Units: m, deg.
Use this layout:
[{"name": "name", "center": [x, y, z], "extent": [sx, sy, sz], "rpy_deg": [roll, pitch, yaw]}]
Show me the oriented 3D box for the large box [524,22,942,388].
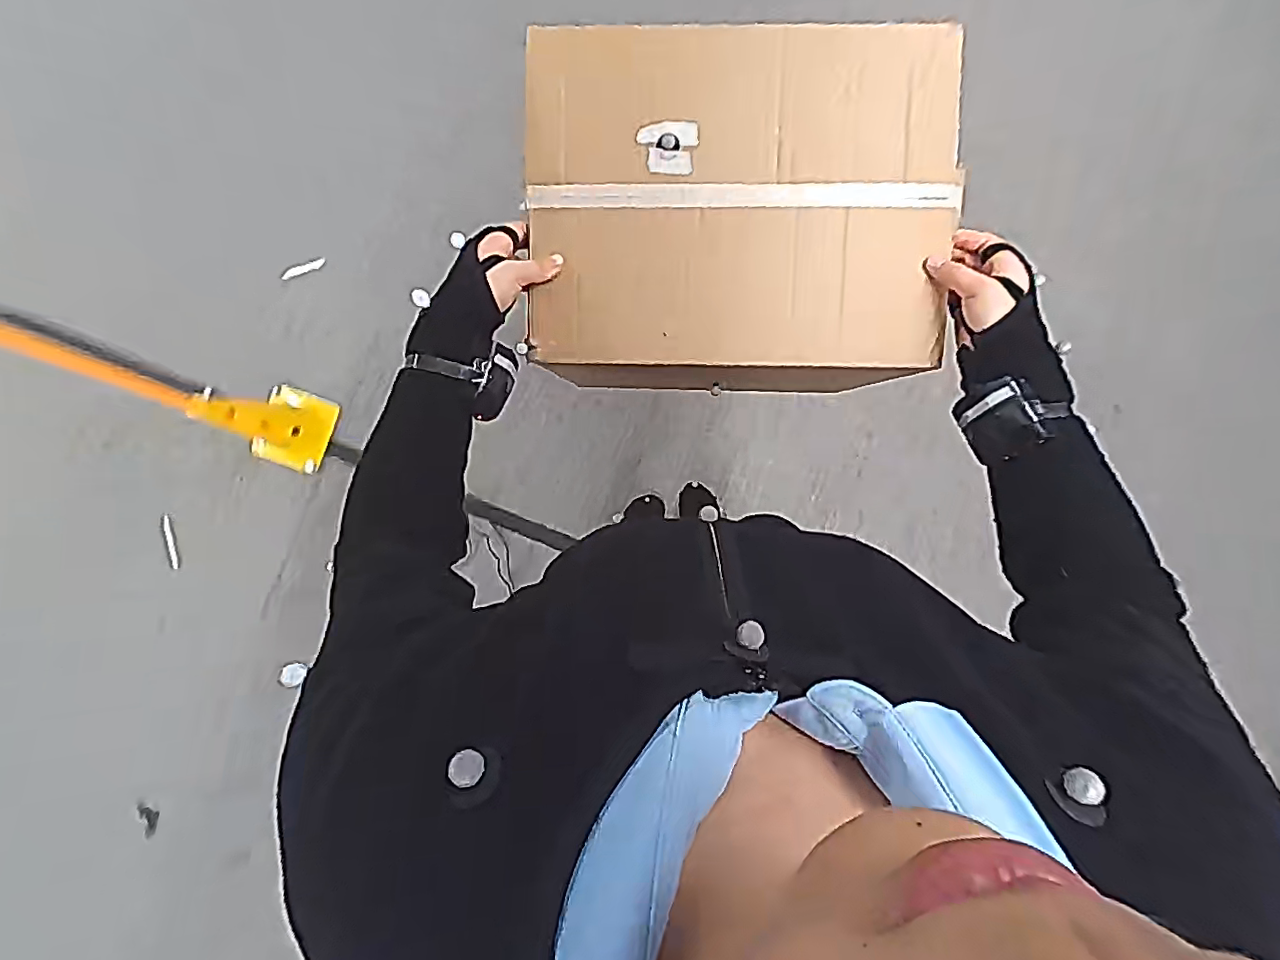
[{"name": "large box", "center": [0.097, -0.284, 0.675], "extent": [0.408, 0.320, 0.320], "rpy_deg": [0, 94, 4]}]
